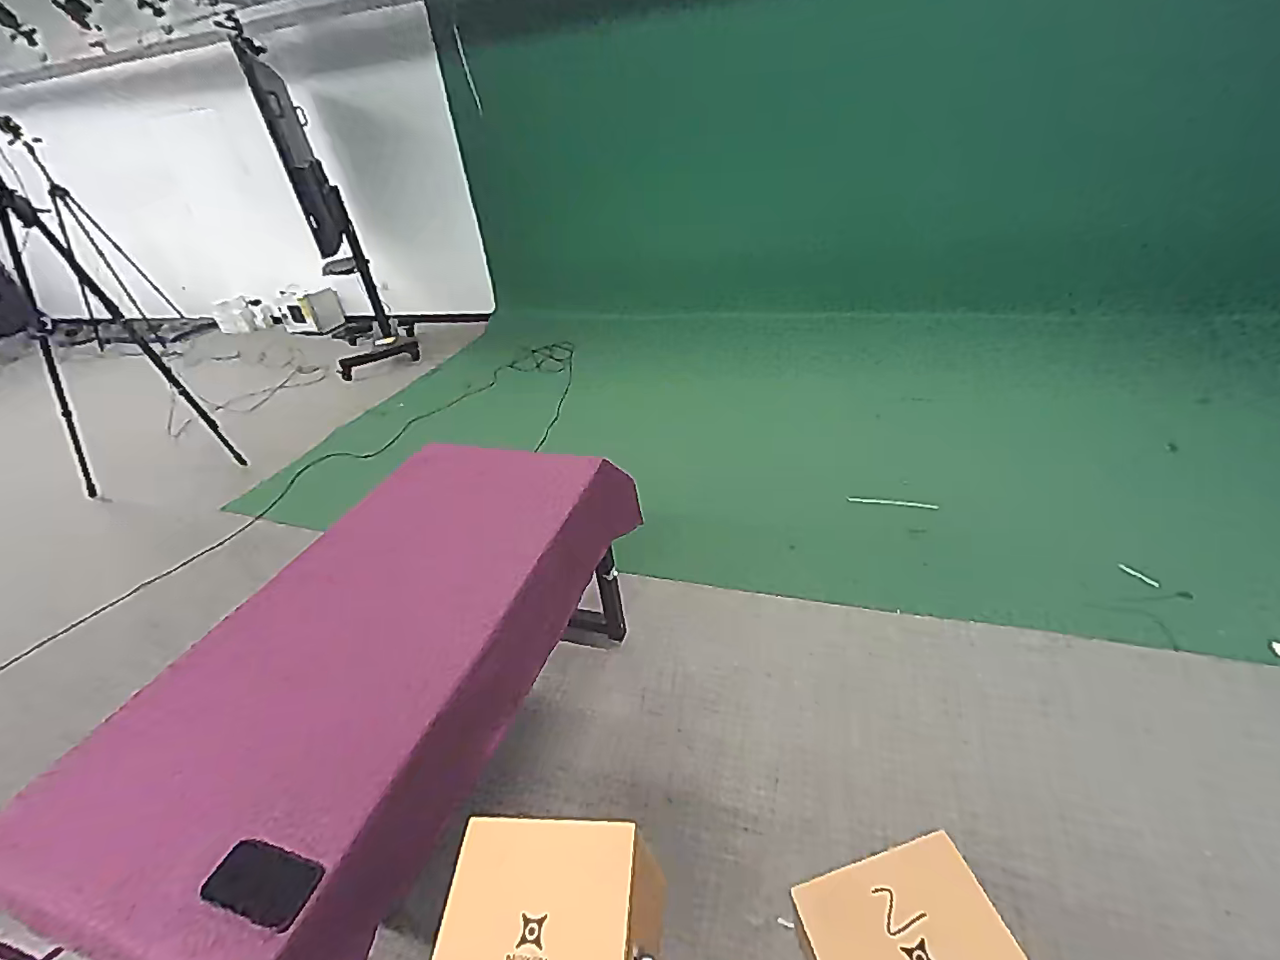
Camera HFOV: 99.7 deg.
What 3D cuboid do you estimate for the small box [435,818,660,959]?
[{"bbox_3d":[-0.076,0.444,0.506,0.168,0.176,0.179,-5,42,10],"label":"small box"}]
